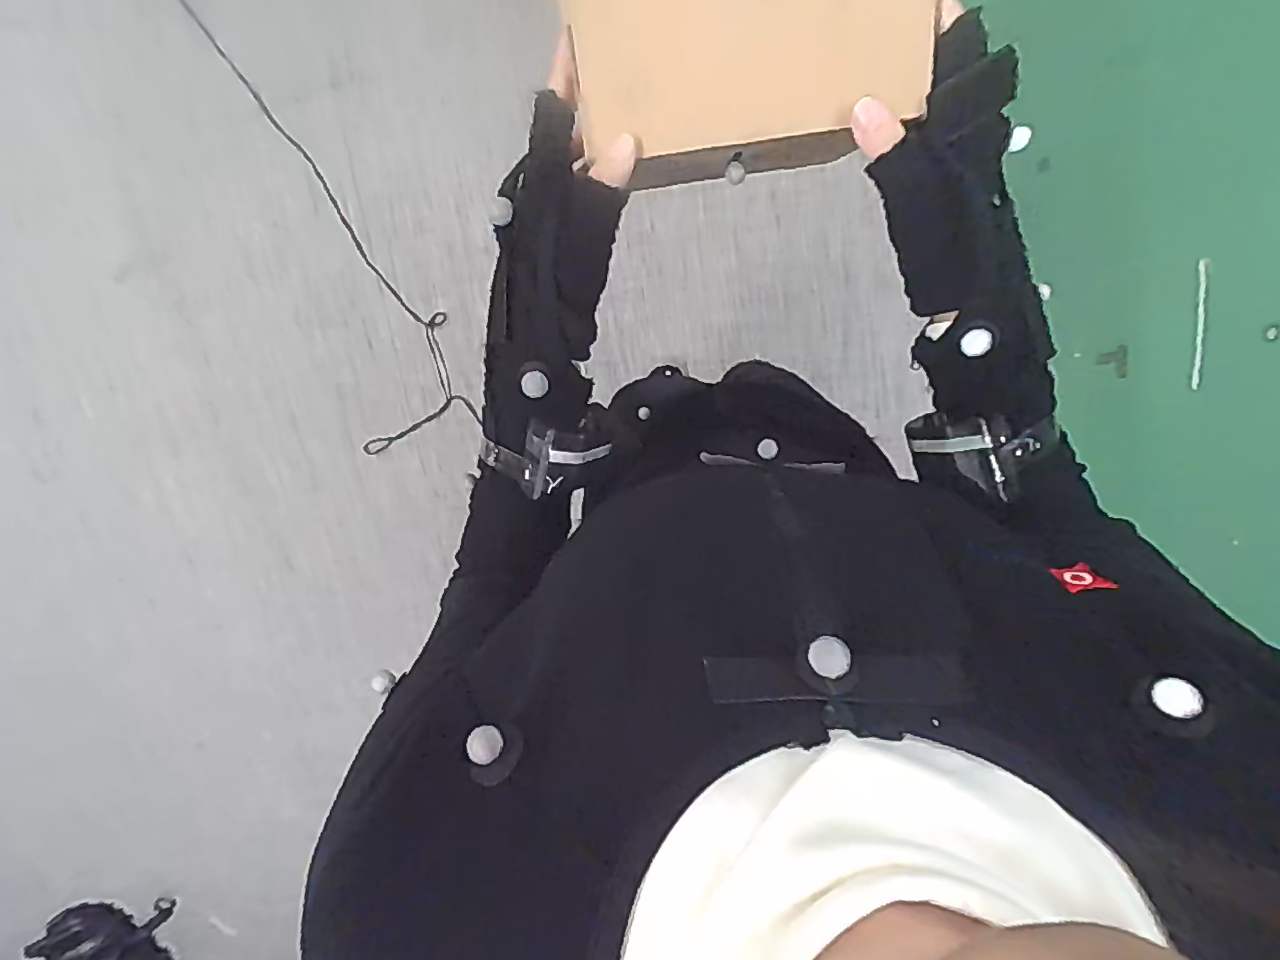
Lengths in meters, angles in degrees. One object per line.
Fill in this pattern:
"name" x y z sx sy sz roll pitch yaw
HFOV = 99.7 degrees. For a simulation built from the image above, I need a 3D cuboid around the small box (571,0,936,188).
"small box" 0.053 -0.282 0.323 0.179 0.176 0.168 -7 114 3
